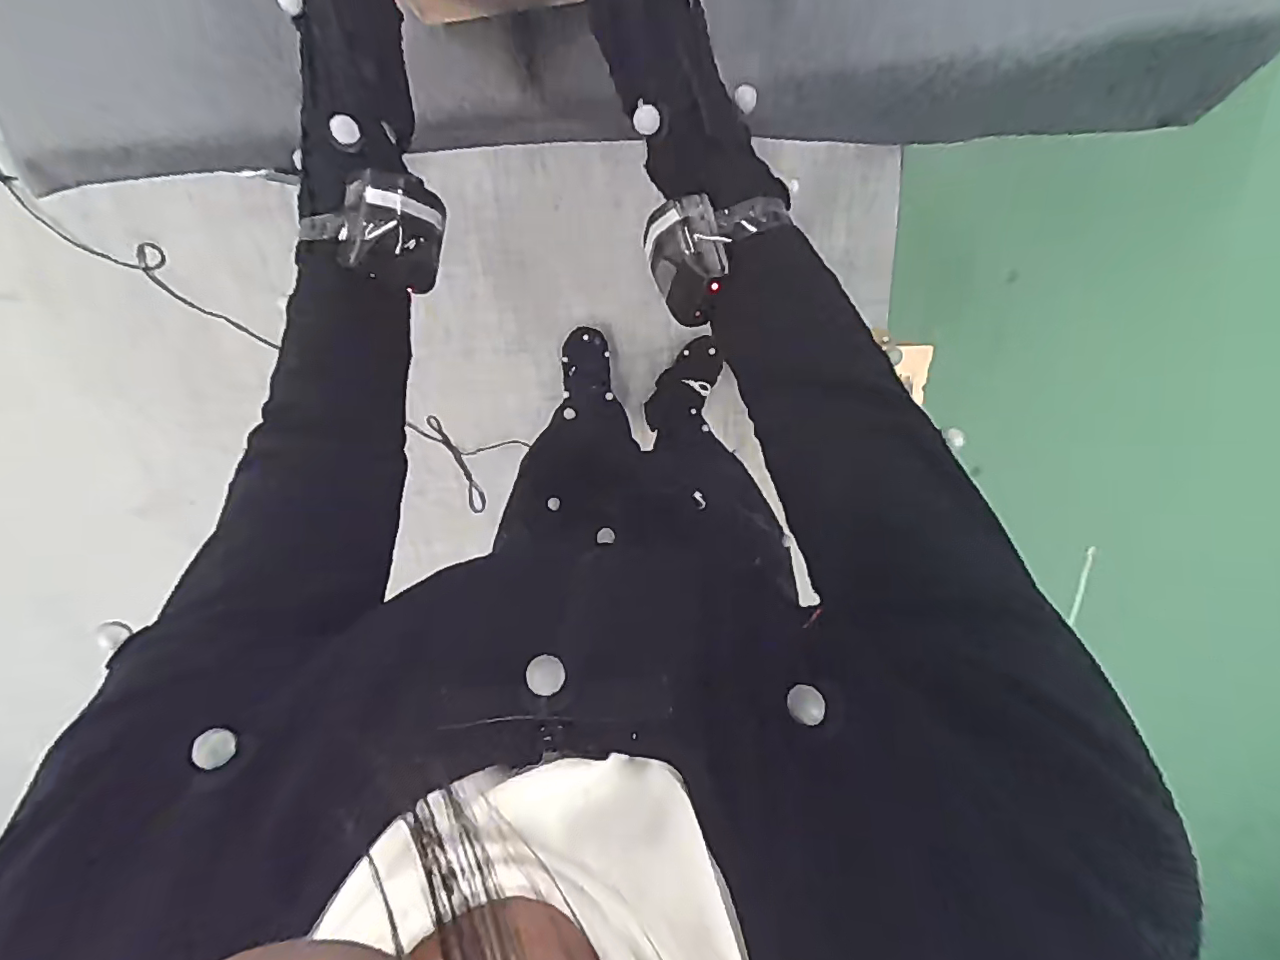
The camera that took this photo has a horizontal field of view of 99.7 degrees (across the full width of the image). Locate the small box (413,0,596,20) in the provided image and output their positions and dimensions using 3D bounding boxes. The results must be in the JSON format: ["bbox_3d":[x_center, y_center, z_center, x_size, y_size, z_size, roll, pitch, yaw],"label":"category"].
[{"bbox_3d":[-0.108,-0.444,0.361,0.179,0.176,0.168,-7,115,0],"label":"small box"}]
